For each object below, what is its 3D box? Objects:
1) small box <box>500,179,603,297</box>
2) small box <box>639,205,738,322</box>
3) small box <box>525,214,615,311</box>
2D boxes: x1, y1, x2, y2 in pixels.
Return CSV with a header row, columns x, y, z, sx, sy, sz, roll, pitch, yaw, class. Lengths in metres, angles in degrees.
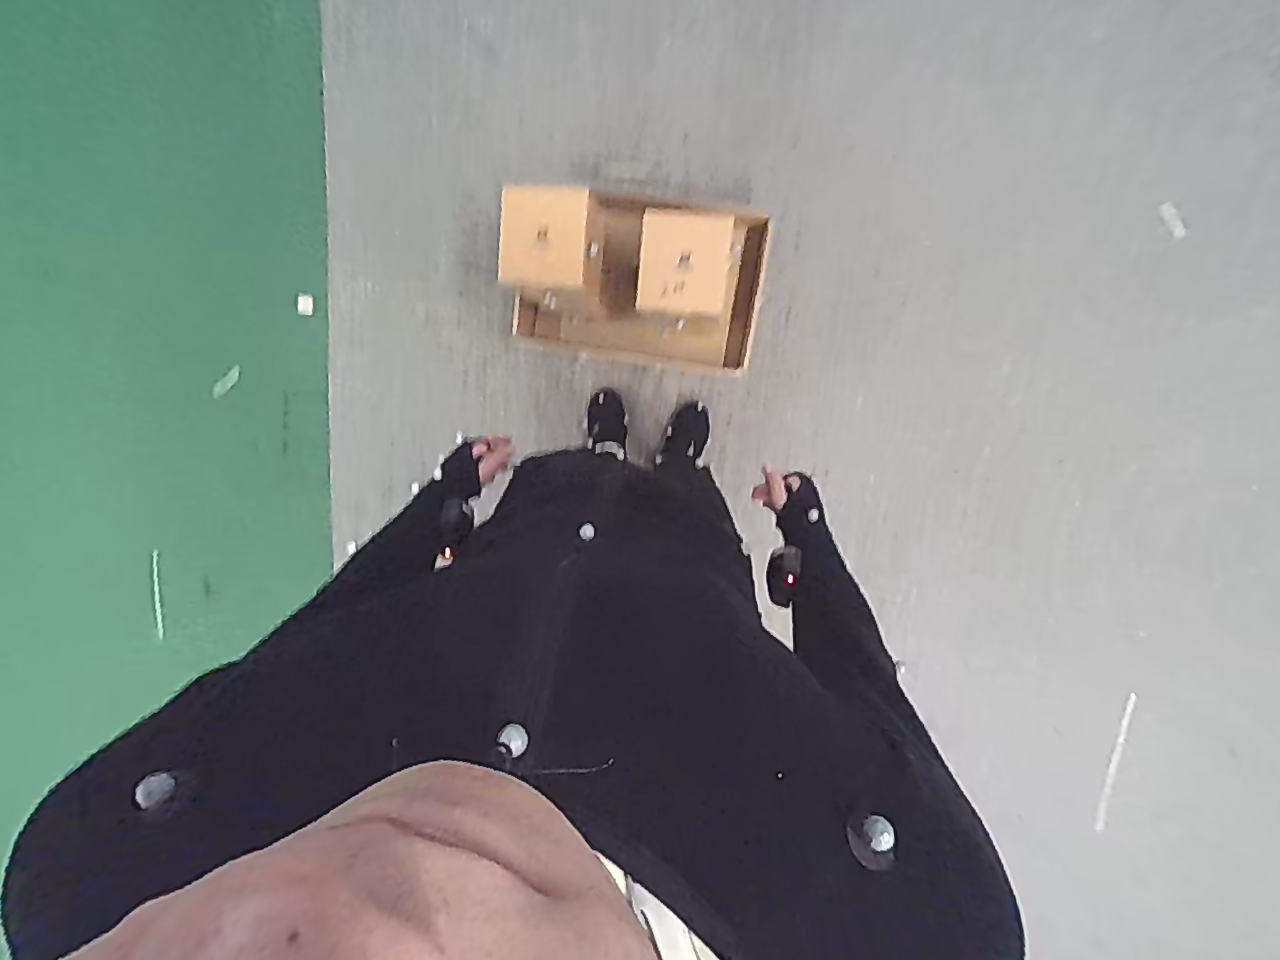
x,y,z,sx,sy,sz,roll,pitch,yaw,class
-0.171,-0.475,1.085,0.168,0.176,0.179,6,101,4,small box
0.094,-0.417,1.064,0.168,0.176,0.179,7,101,6,small box
-0.156,-0.501,1.244,0.168,0.176,0.179,8,99,6,small box
